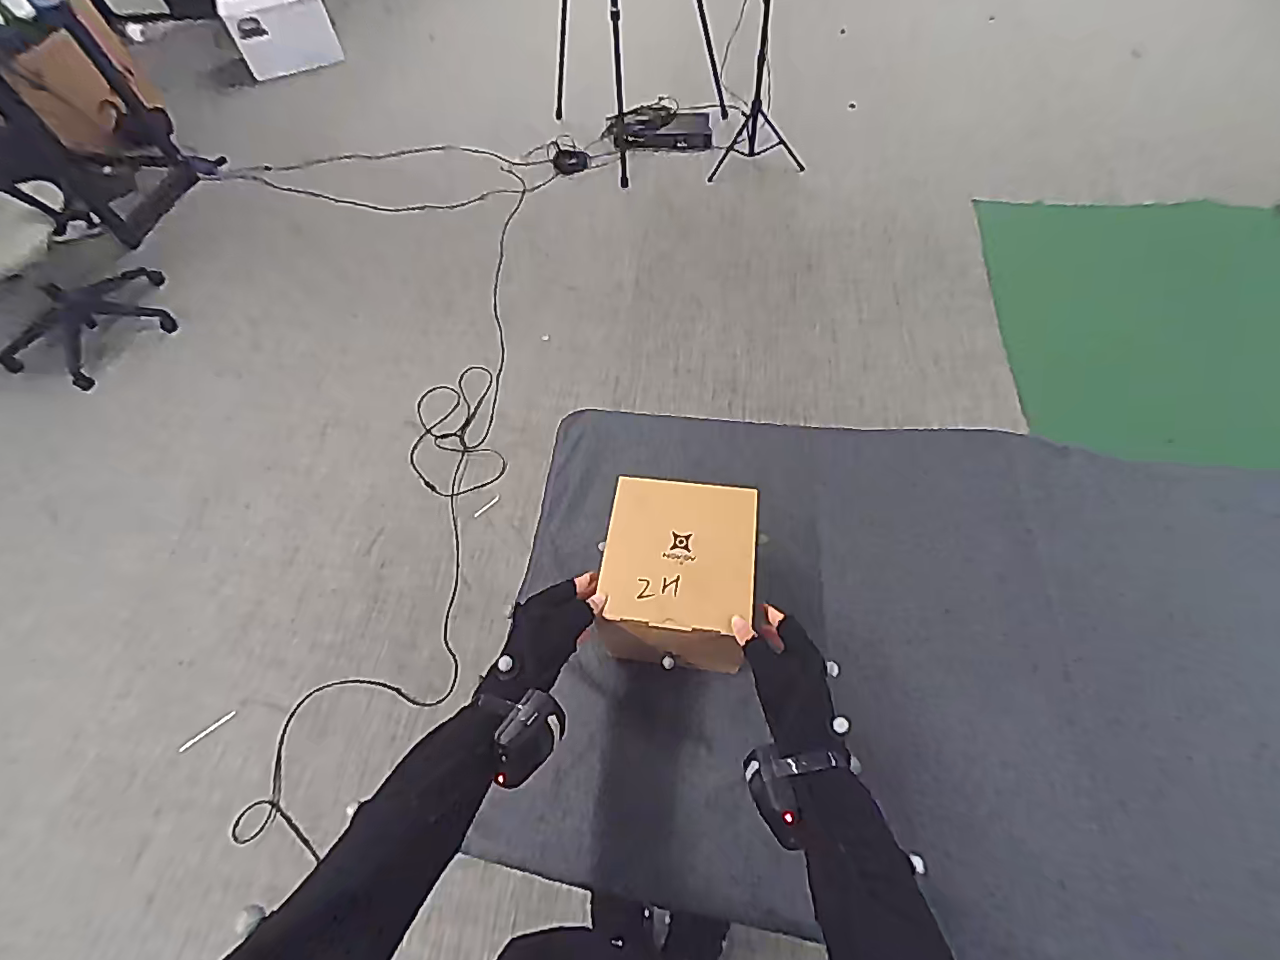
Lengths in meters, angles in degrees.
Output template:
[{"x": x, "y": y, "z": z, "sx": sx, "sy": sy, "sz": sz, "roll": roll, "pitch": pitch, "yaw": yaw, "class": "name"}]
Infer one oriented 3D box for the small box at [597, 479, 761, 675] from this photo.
[{"x": 0.051, "y": 0.122, "z": 0.663, "sx": 0.168, "sy": 0.176, "sz": 0.179, "roll": 5, "pitch": 58, "yaw": 8, "class": "small box"}]
